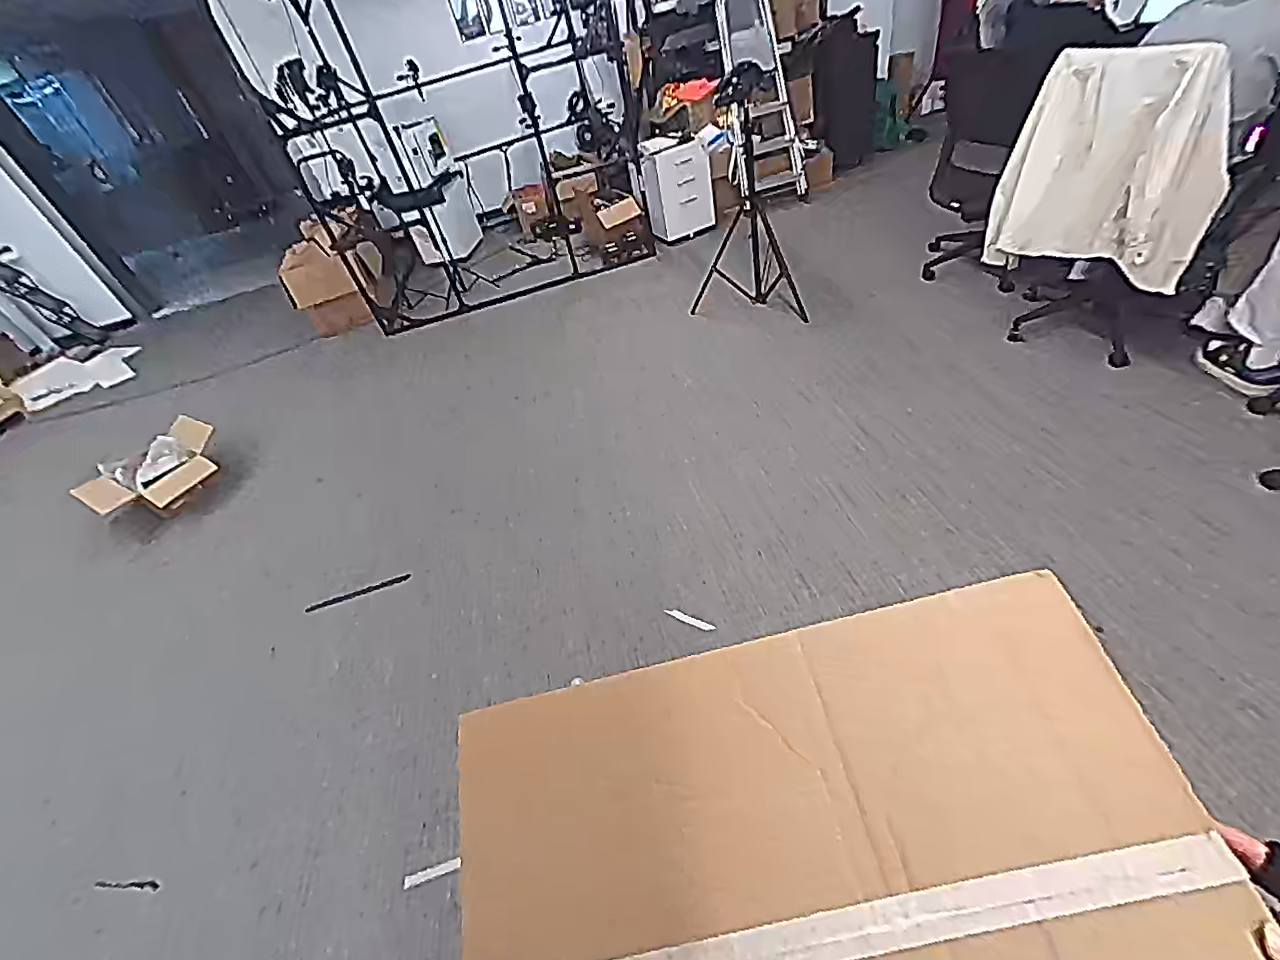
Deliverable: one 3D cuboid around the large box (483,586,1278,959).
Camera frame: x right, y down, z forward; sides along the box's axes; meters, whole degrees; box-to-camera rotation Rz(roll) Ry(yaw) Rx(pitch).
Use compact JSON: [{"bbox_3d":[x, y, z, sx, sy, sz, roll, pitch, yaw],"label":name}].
[{"bbox_3d":[0.137,0.323,0.421,0.408,0.320,0.320,-16,60,4],"label":"large box"}]
